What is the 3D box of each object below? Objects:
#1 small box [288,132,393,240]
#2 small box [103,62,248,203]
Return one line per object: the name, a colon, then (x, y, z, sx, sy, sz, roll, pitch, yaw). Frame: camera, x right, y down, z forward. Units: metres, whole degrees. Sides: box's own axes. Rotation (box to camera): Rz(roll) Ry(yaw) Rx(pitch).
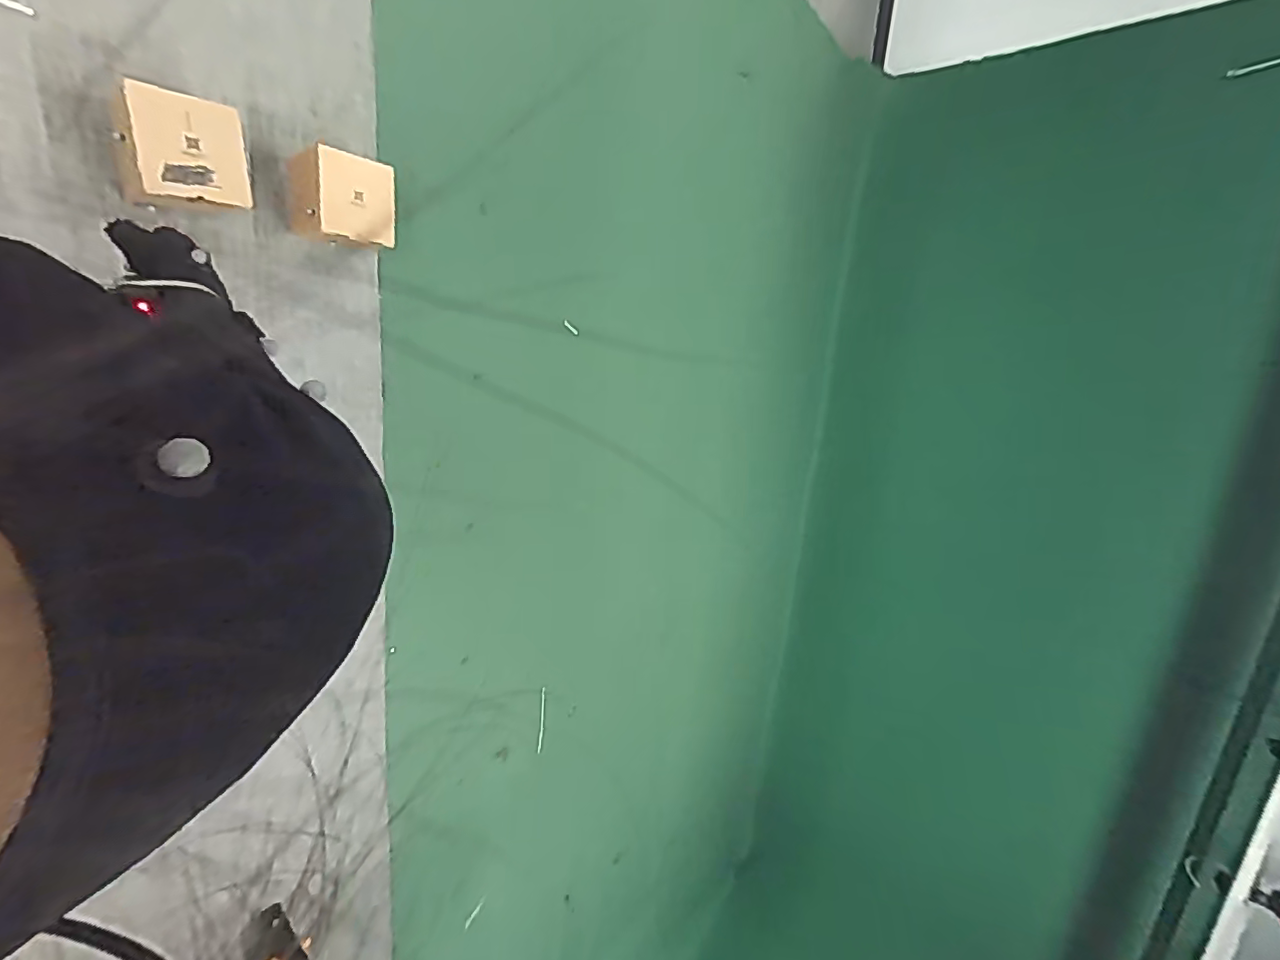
small box: (-0.690, -0.665, 1.246, 0.168, 0.176, 0.179, -11, 111, -49)
small box: (-0.873, -0.637, 1.019, 0.168, 0.176, 0.179, -17, 115, -49)
